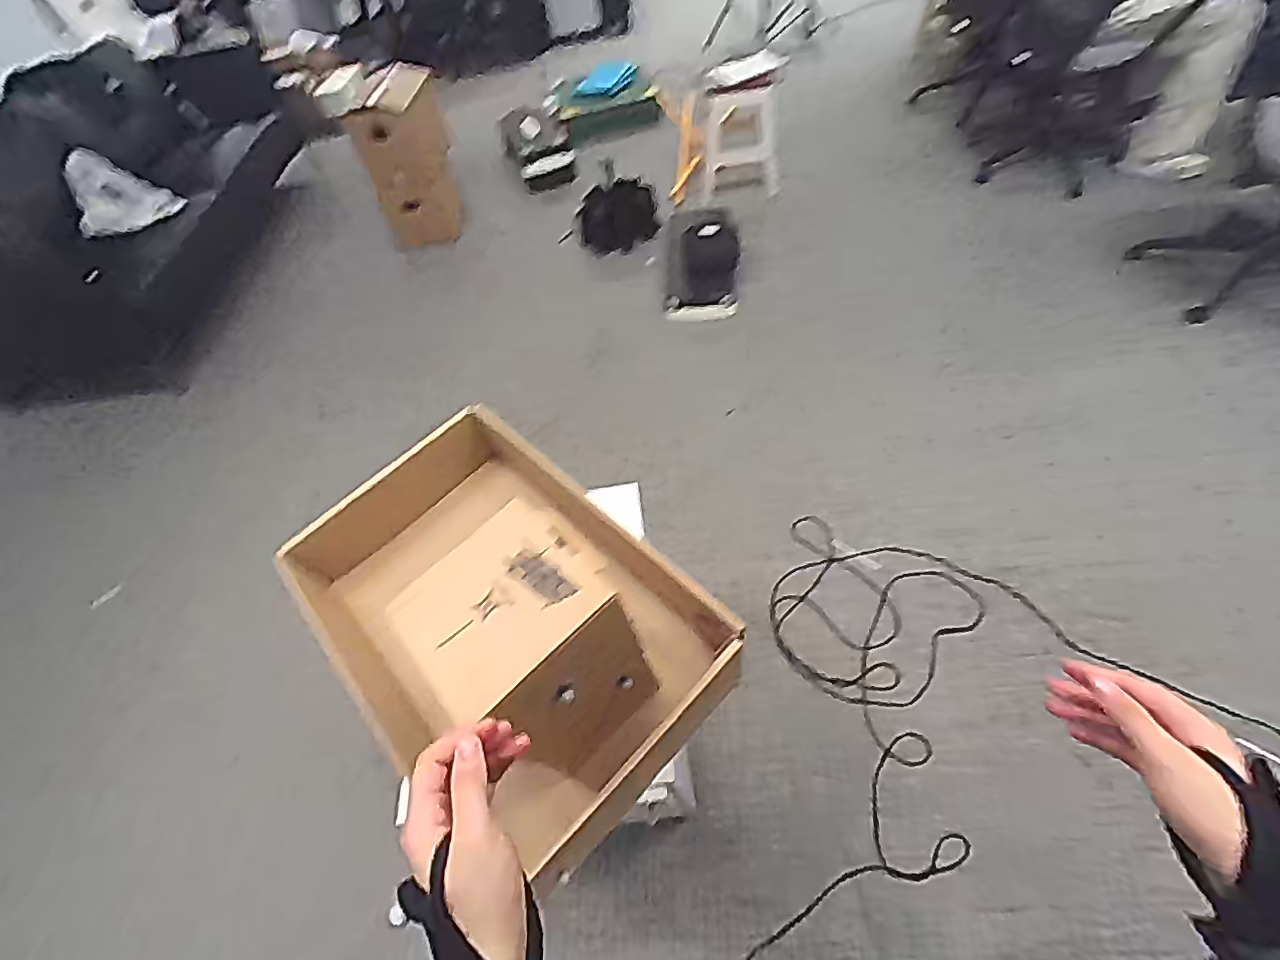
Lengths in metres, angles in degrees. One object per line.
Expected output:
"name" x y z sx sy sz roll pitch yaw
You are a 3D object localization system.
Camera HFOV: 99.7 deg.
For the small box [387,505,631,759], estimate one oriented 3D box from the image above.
"small box" -0.126 0.167 0.589 0.179 0.176 0.168 -41 56 -17
